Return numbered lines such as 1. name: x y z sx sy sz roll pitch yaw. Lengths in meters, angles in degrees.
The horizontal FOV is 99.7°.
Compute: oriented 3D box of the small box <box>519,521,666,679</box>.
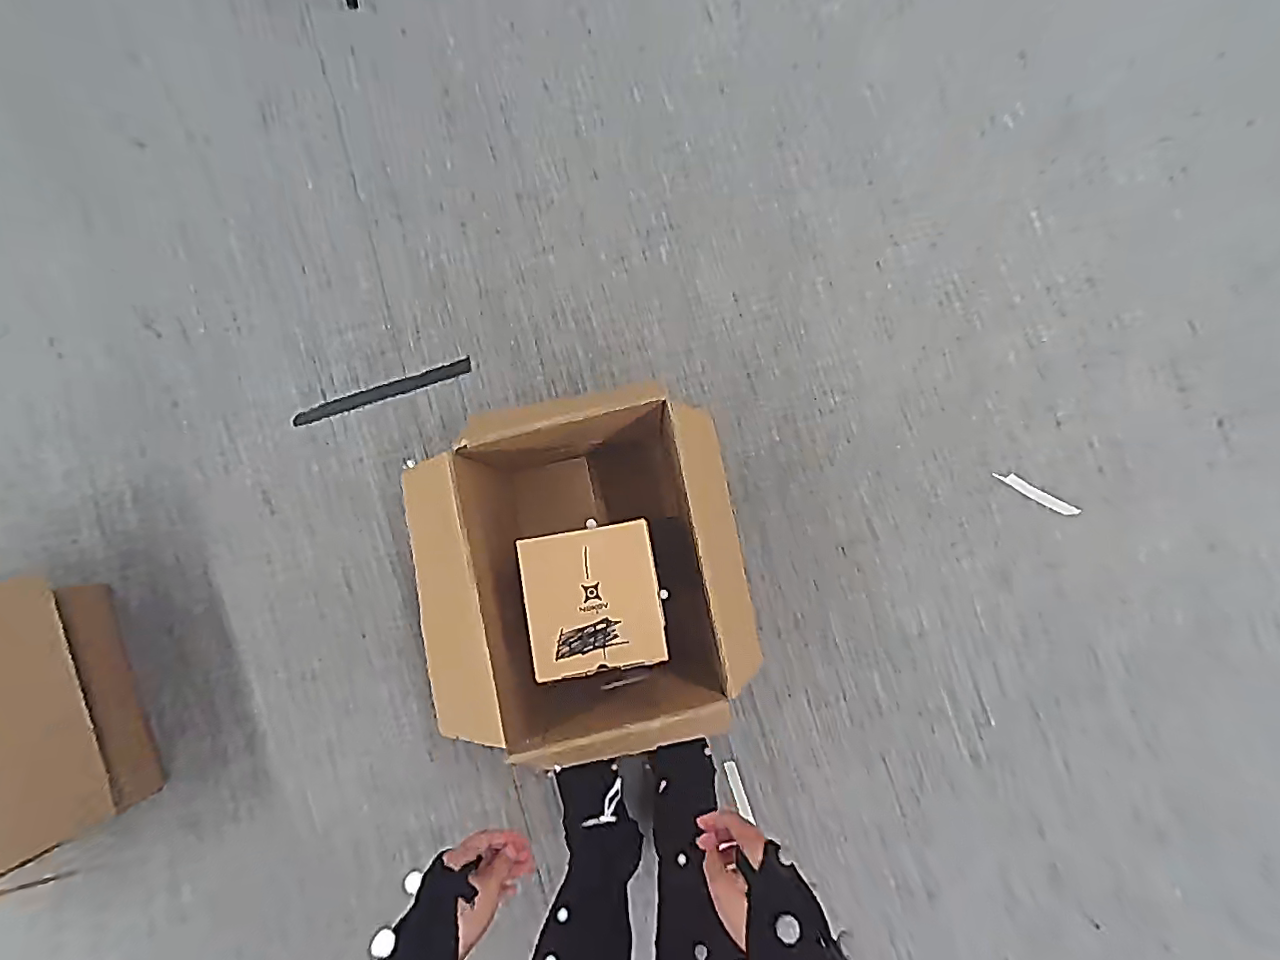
1. small box: -0.060 0.157 0.751 0.168 0.176 0.179 -10 82 -2
